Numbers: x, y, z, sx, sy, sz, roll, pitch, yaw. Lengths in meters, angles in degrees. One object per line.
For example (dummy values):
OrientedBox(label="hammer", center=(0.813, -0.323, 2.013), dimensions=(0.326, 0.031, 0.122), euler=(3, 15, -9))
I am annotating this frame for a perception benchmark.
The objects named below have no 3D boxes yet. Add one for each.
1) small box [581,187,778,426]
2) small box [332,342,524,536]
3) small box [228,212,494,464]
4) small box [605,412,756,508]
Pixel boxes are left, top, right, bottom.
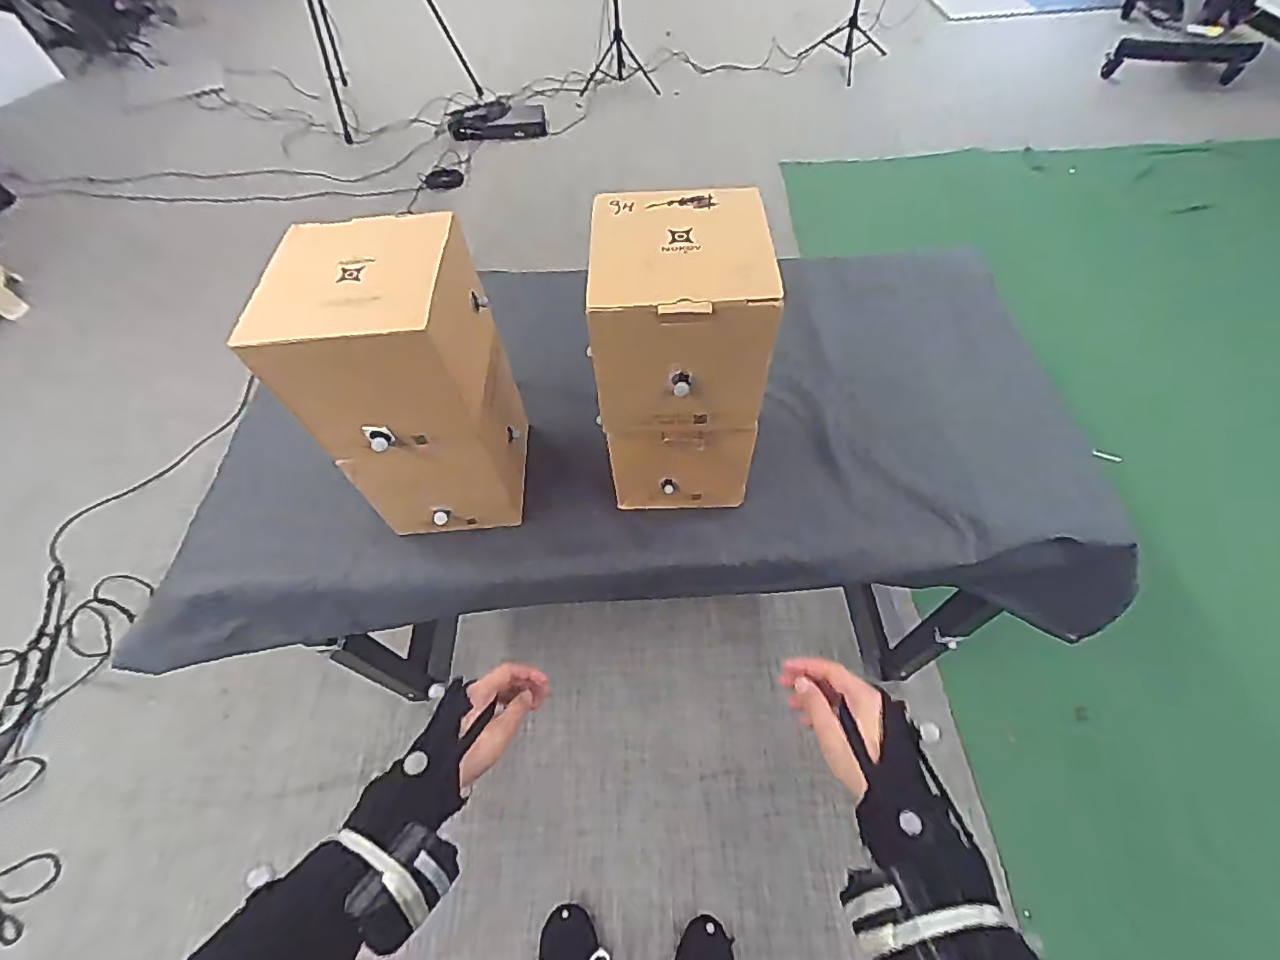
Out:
OrientedBox(label="small box", center=(0.036, -0.167, 0.553), dimensions=(0.168, 0.176, 0.179), euler=(-2, 57, 1))
OrientedBox(label="small box", center=(-0.246, -0.048, 0.682), dimensions=(0.168, 0.176, 0.179), euler=(-5, 57, 0))
OrientedBox(label="small box", center=(-0.253, -0.138, 0.547), dimensions=(0.168, 0.176, 0.179), euler=(-6, 57, 1))
OrientedBox(label="small box", center=(0.045, -0.081, 0.692), dimensions=(0.168, 0.176, 0.179), euler=(-2, 56, 1))
